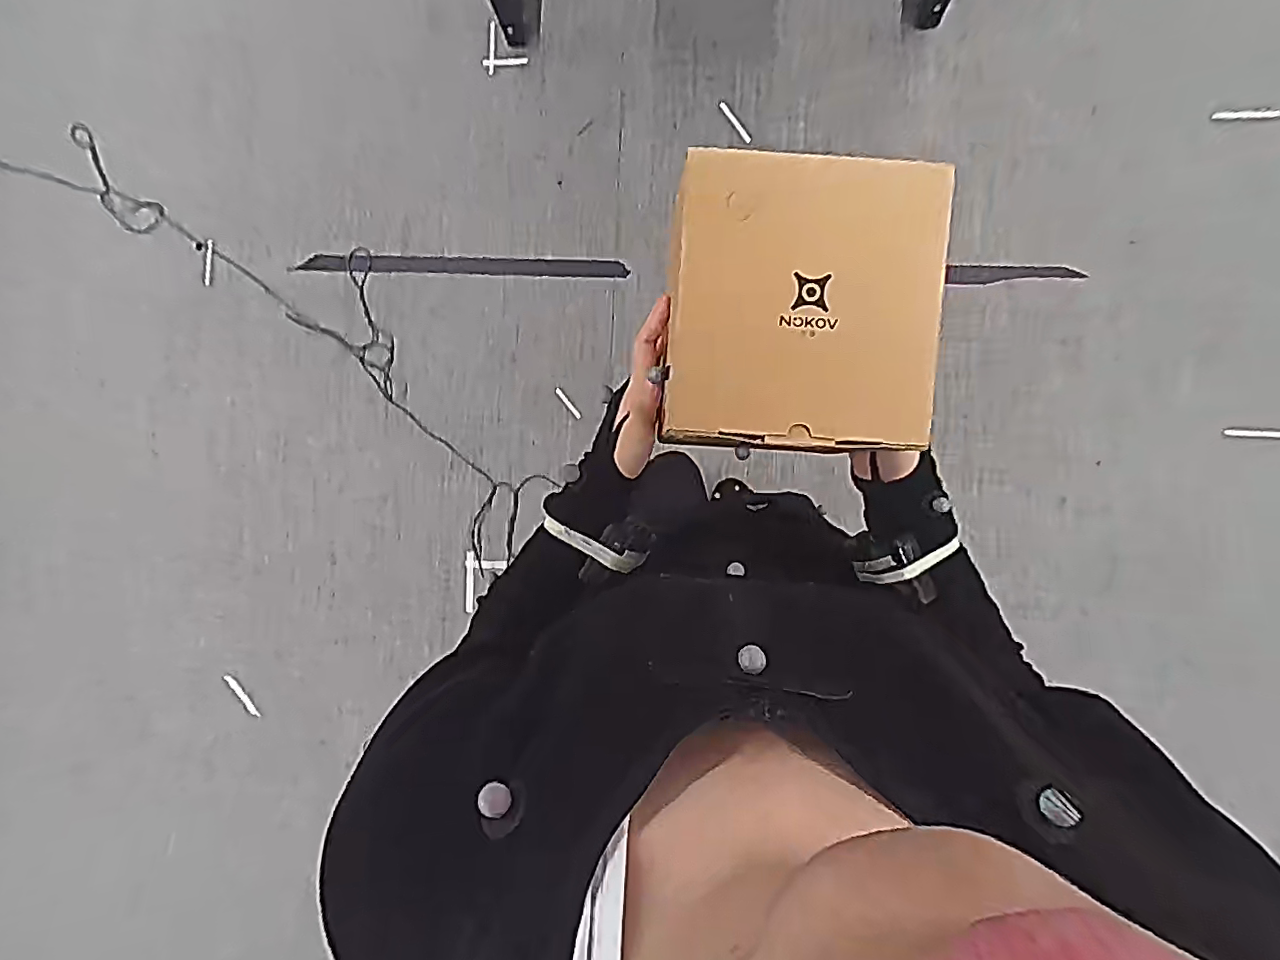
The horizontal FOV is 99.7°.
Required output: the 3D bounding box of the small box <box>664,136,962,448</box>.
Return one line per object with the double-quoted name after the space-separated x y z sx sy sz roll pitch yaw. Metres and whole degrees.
0.107 -0.117 0.406 0.168 0.176 0.179 3 93 0 "small box"
